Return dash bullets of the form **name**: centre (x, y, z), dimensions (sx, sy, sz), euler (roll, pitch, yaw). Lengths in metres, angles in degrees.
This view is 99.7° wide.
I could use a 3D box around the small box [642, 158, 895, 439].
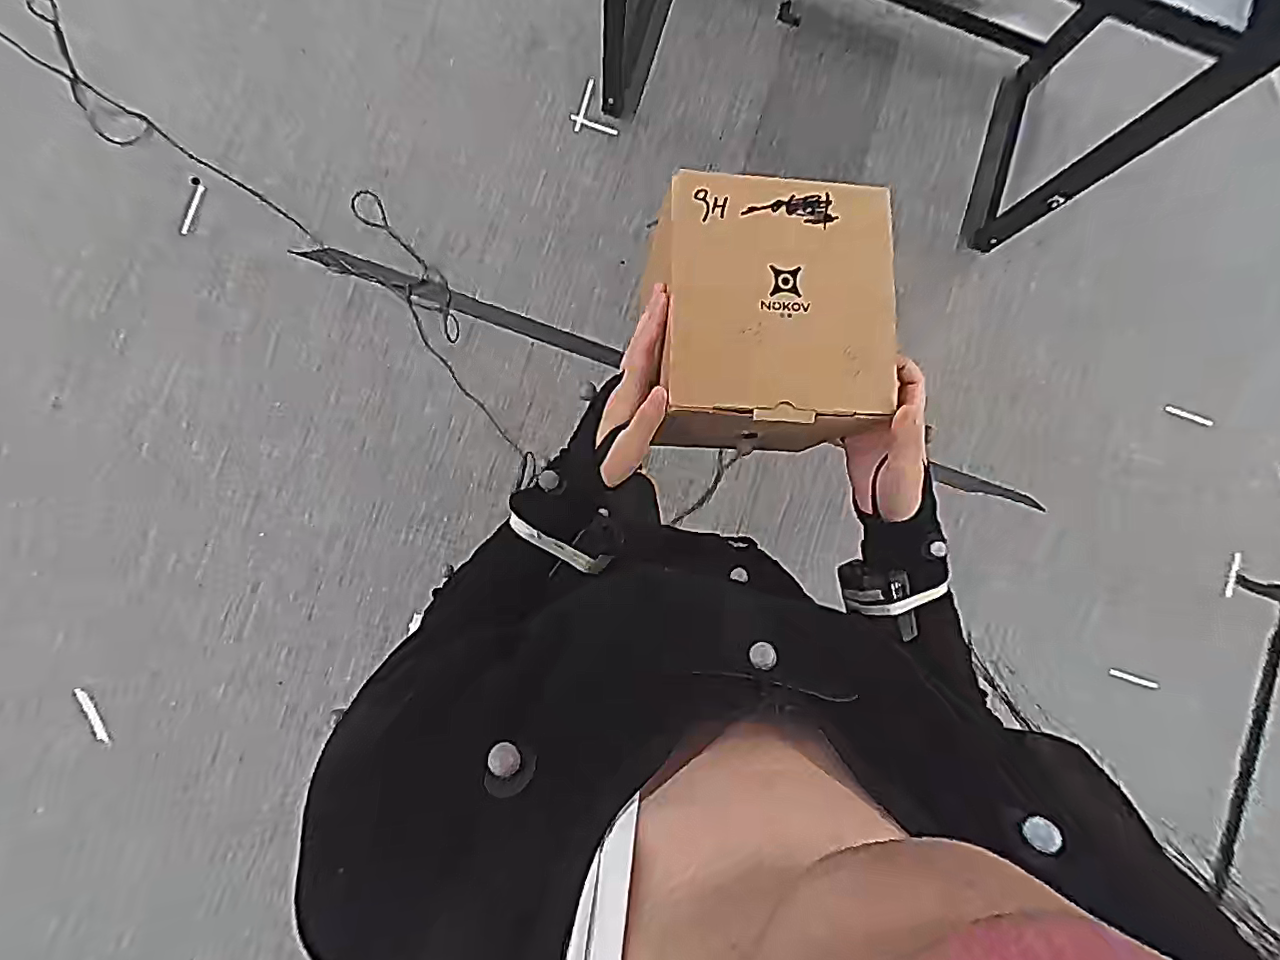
- **small box**: centre (0.093, -0.132, 0.461), dimensions (0.168, 0.176, 0.179), euler (2, 85, -6)
